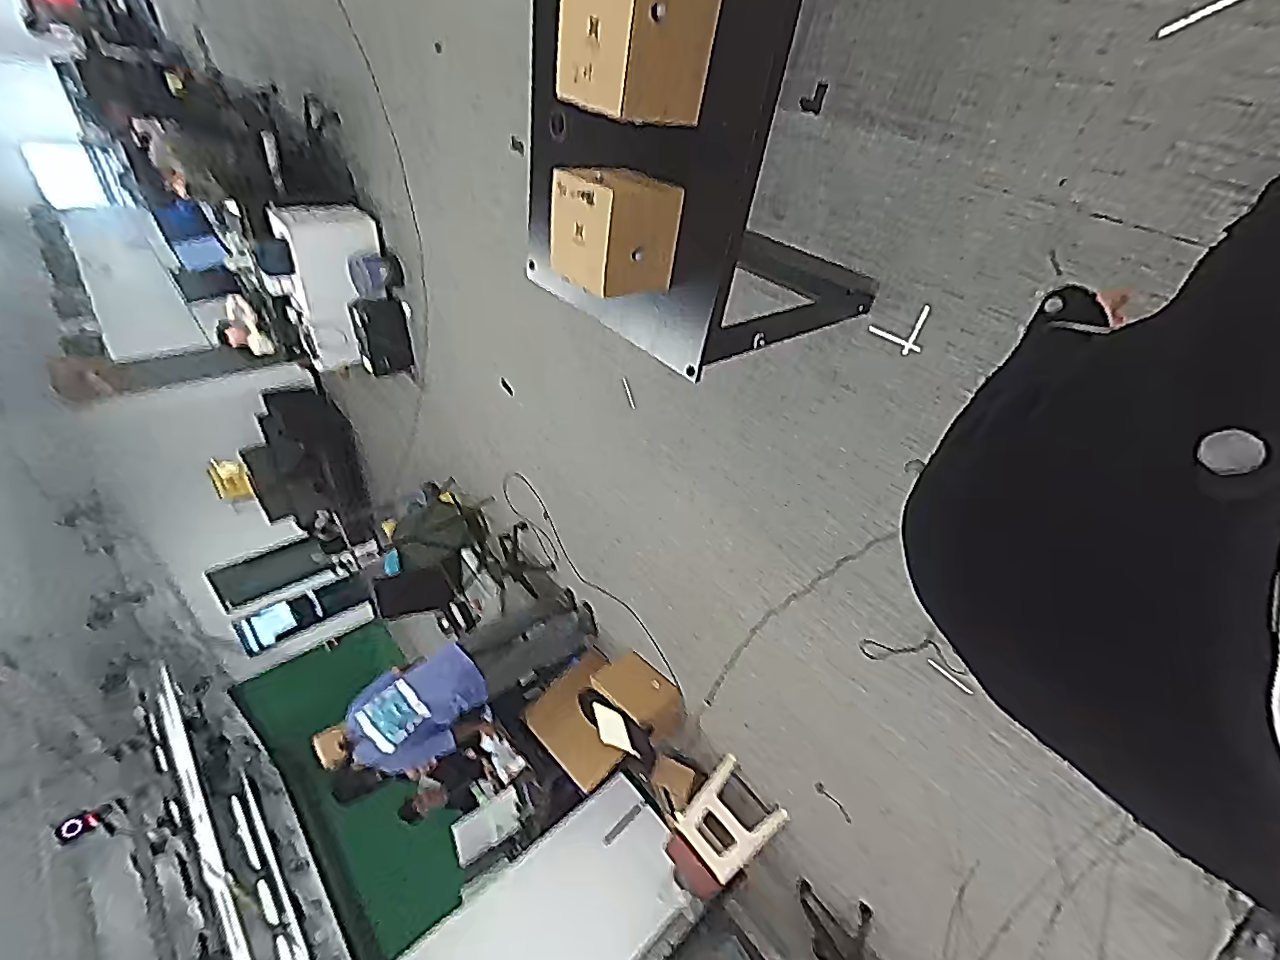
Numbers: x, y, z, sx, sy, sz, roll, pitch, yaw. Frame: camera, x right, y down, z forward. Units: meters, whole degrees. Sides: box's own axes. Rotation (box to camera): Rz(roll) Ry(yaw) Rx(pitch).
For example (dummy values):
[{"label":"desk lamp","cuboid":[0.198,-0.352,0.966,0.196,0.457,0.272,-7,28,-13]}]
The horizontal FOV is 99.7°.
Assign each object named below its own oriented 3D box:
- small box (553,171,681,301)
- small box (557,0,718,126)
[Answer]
[{"label":"small box","cuboid":[-0.044,-0.454,0.996,0.168,0.176,0.179,38,137,33]},{"label":"small box","cuboid":[-0.005,-0.662,0.824,0.168,0.176,0.179,42,139,30]}]
